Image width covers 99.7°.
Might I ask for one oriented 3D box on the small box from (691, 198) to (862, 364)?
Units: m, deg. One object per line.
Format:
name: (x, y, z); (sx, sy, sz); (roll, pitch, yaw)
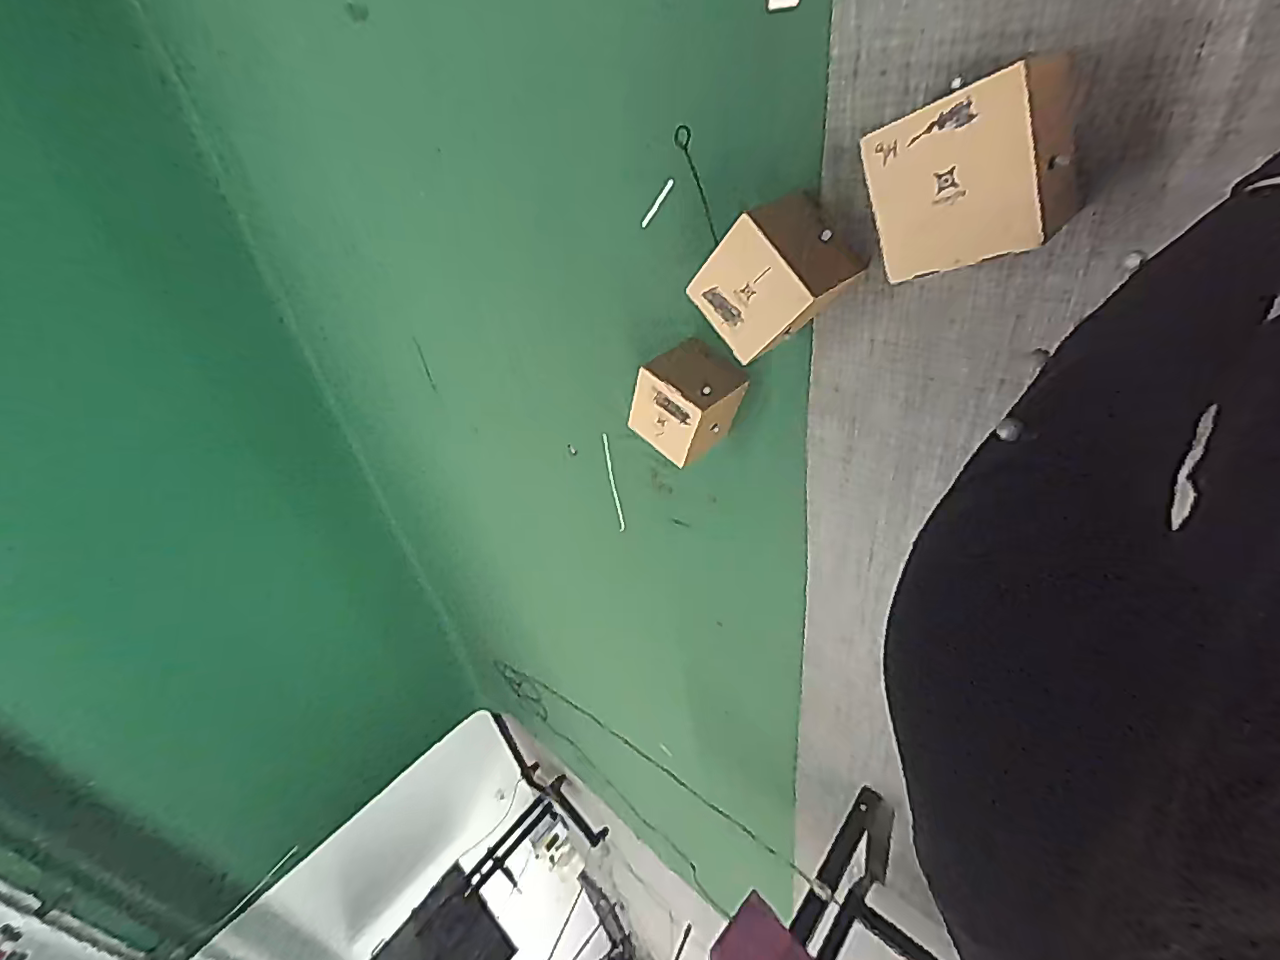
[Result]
small box: (0.224, -0.327, 0.891); (0.168, 0.176, 0.179); (53, 145, 2)

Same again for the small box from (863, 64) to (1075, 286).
small box: (0.400, -0.360, 0.650); (0.168, 0.176, 0.179); (3, 122, 50)
